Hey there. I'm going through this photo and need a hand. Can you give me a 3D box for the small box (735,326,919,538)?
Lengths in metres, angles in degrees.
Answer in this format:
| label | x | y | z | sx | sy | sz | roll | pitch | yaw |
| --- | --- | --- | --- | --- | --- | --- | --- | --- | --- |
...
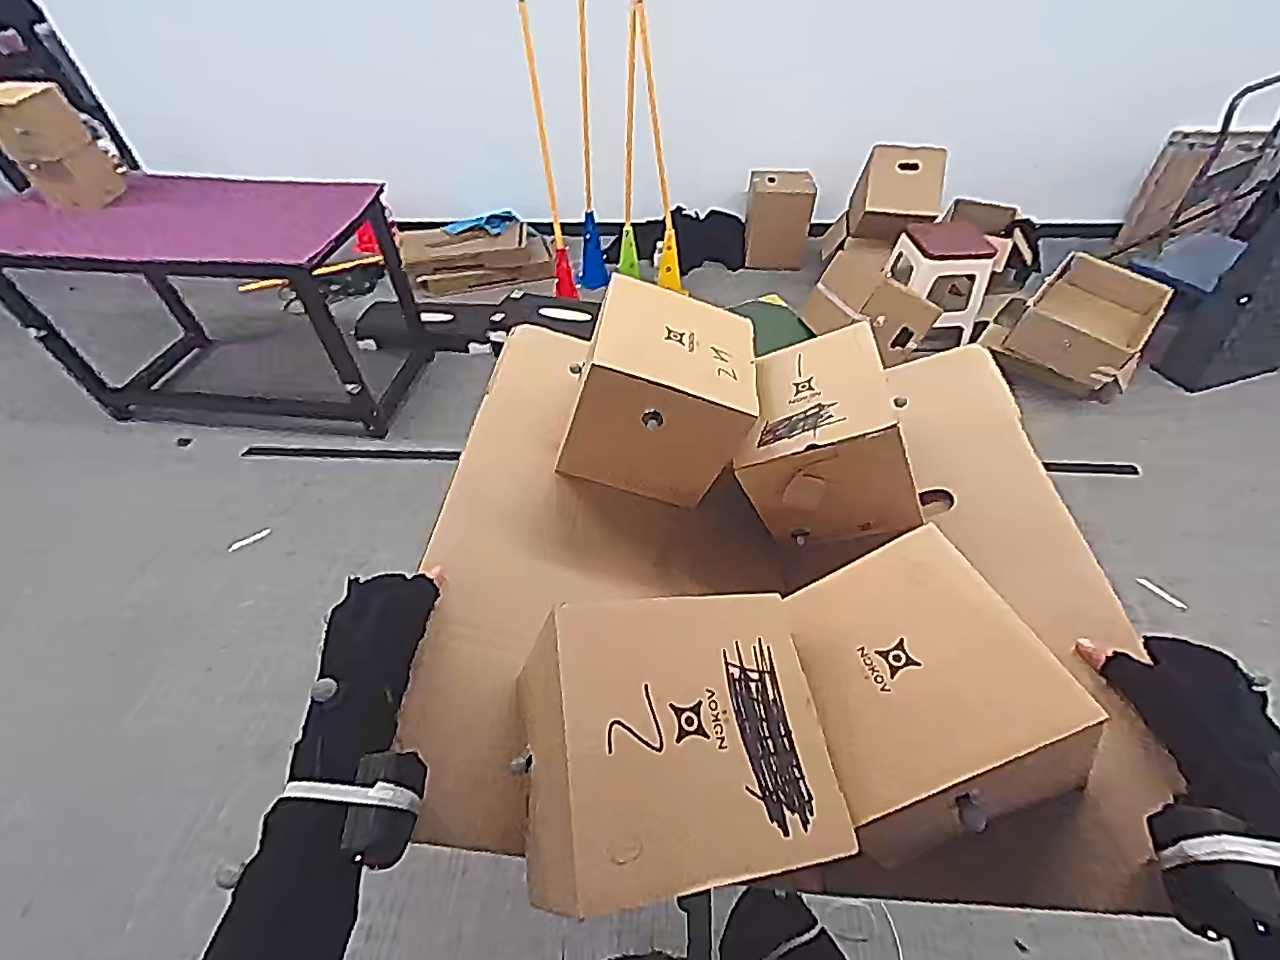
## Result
| label | x | y | z | sx | sy | sz | roll | pitch | yaw |
| --- | --- | --- | --- | --- | --- | --- | --- | --- | --- |
| small box | 0.222 | -0.045 | 0.651 | 0.168 | 0.176 | 0.179 | -15 | 44 | 26 |
